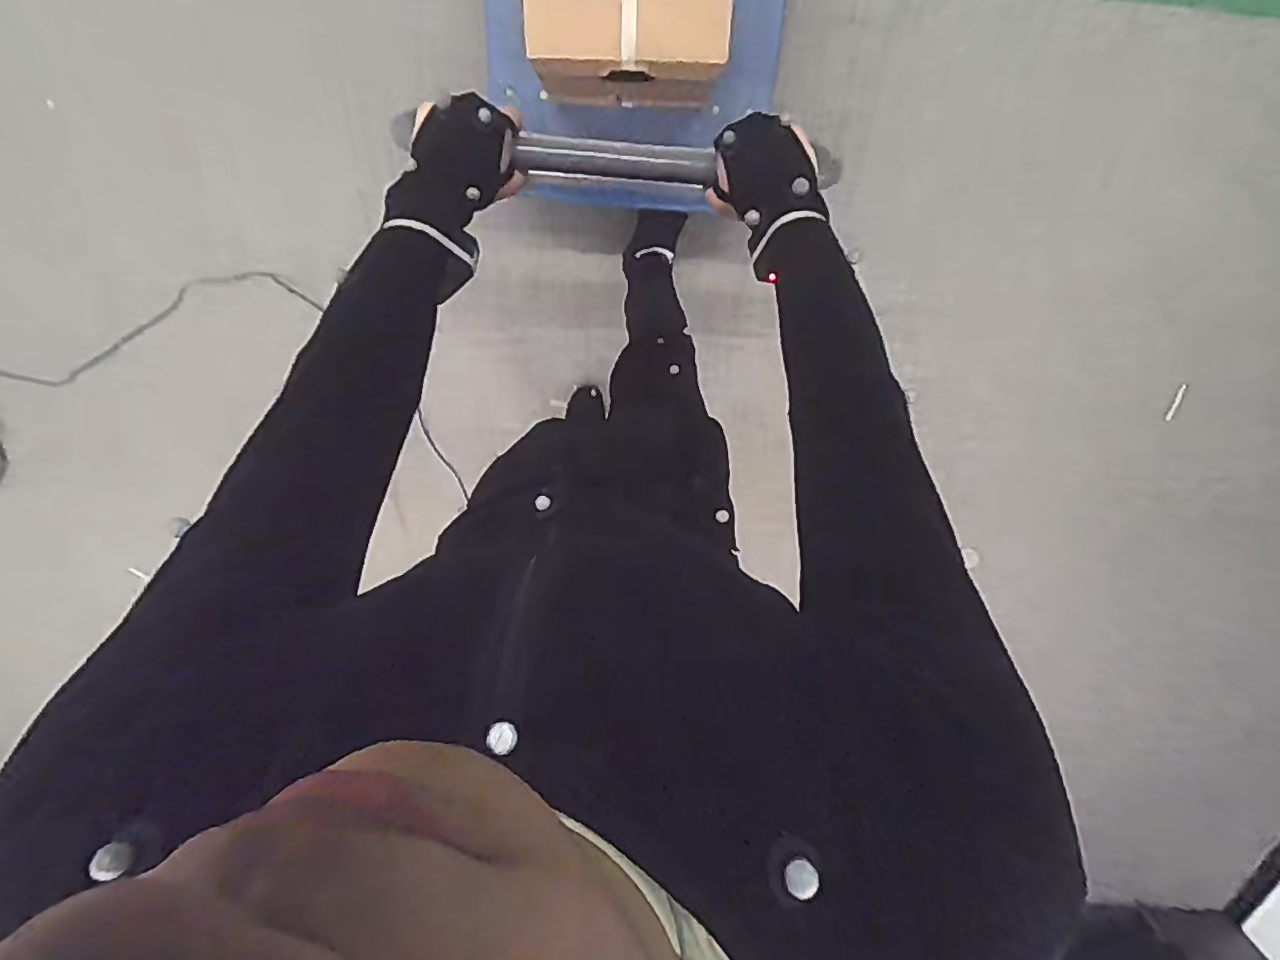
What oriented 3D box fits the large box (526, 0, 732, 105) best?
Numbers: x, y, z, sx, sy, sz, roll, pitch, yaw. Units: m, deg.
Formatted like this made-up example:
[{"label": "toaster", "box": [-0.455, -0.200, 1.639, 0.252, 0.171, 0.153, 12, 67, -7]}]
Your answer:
[{"label": "large box", "box": [-0.014, -0.891, 0.895, 0.320, 0.320, 0.408, 1, 114, -1]}]
